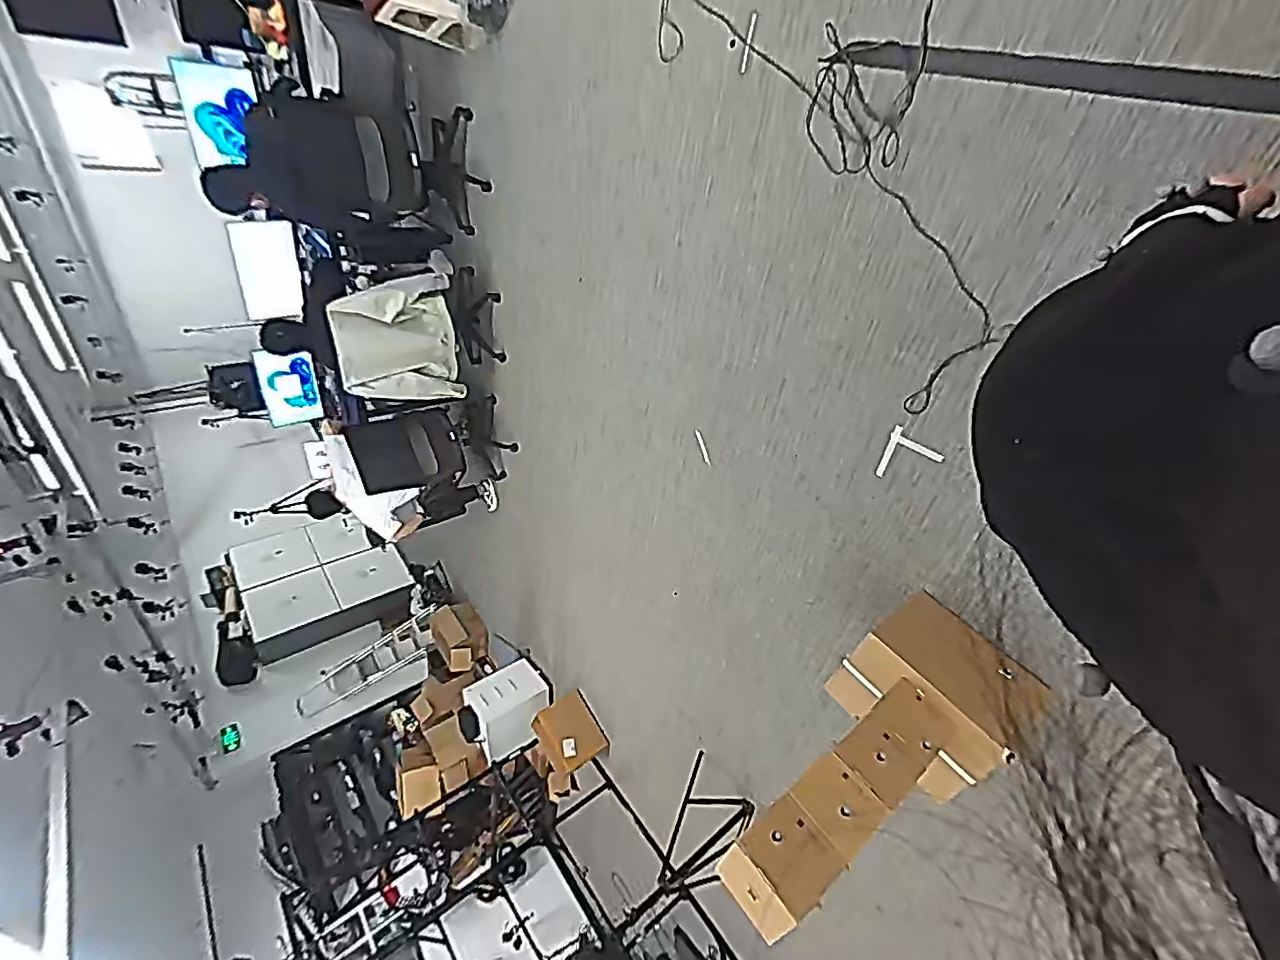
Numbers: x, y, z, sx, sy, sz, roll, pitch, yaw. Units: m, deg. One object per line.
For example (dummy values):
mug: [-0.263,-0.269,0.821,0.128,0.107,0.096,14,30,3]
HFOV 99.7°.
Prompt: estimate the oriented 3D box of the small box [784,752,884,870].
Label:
small box: [0.414,0.753,1.213,0.168,0.176,0.179,42,137,33]

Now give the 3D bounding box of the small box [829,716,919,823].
small box: [0.540,0.711,1.307,0.168,0.176,0.179,45,137,32]

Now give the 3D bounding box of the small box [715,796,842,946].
small box: [0.288,0.803,1.123,0.168,0.176,0.179,43,139,34]
